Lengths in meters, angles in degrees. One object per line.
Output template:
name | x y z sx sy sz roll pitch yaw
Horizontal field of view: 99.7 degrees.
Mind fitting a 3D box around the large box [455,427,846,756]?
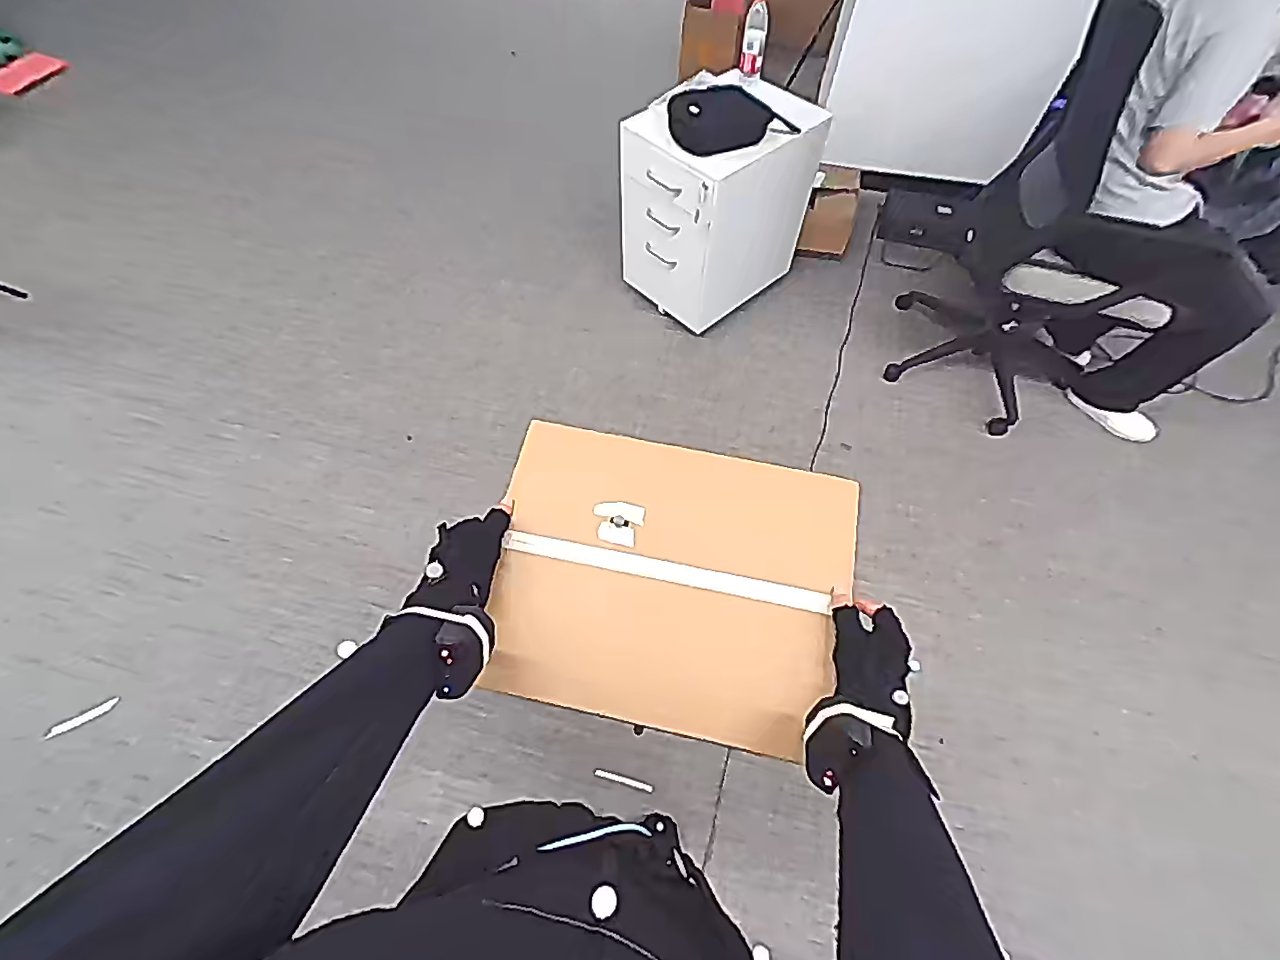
large box | 0.031 0.160 0.750 0.408 0.320 0.320 11 67 6
